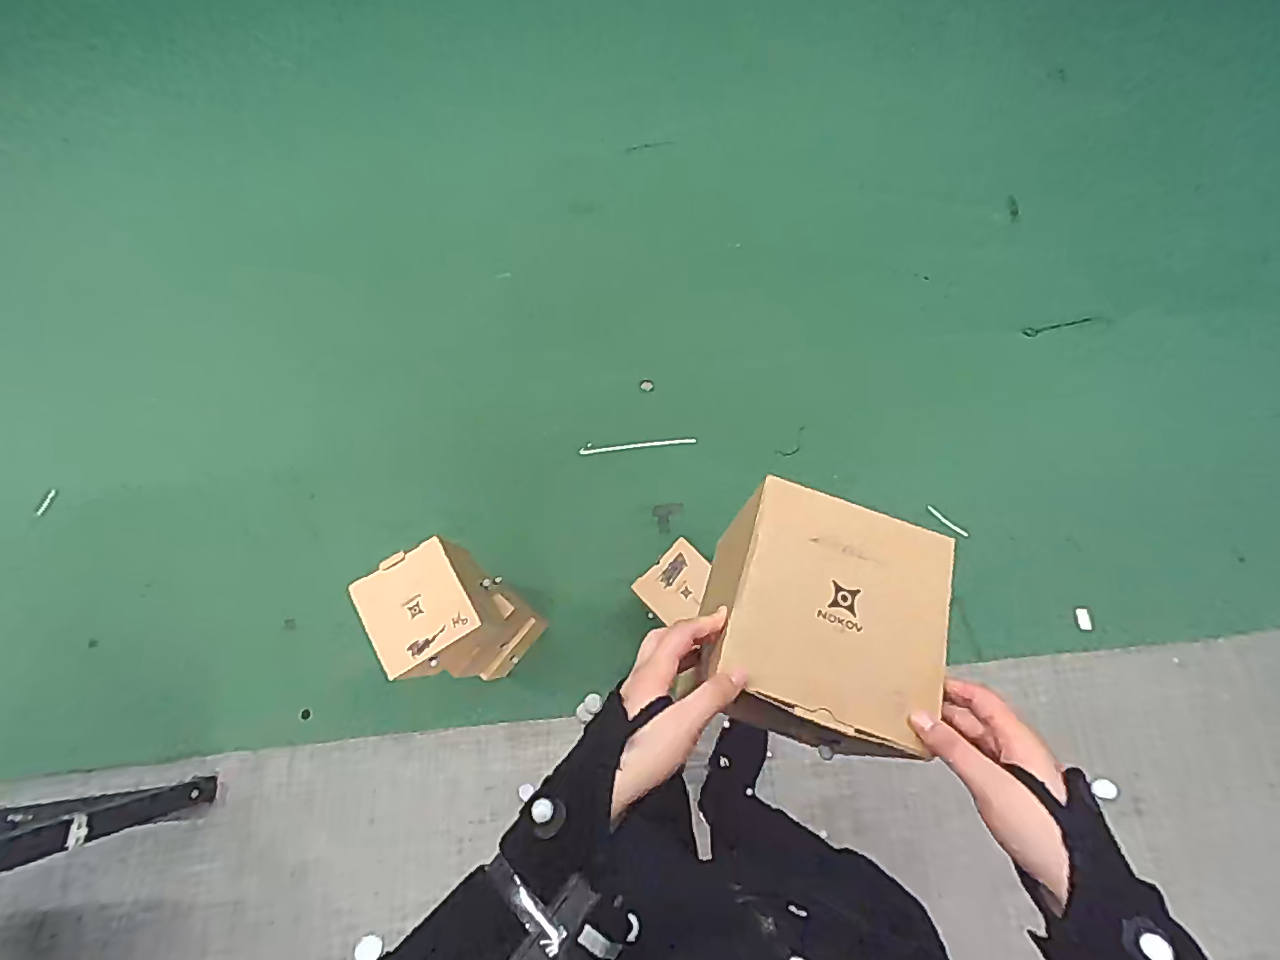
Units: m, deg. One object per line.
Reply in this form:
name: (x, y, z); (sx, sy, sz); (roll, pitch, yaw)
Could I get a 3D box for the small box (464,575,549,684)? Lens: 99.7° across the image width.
small box: (-0.336, 0.345, 1.258); (0.179, 0.176, 0.168); (37, 78, 13)

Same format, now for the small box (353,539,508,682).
small box: (-0.357, 0.232, 0.950); (0.168, 0.176, 0.179); (-31, 74, -7)

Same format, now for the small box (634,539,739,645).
small box: (0.103, 0.268, 1.264); (0.168, 0.176, 0.179); (-43, 77, -11)
